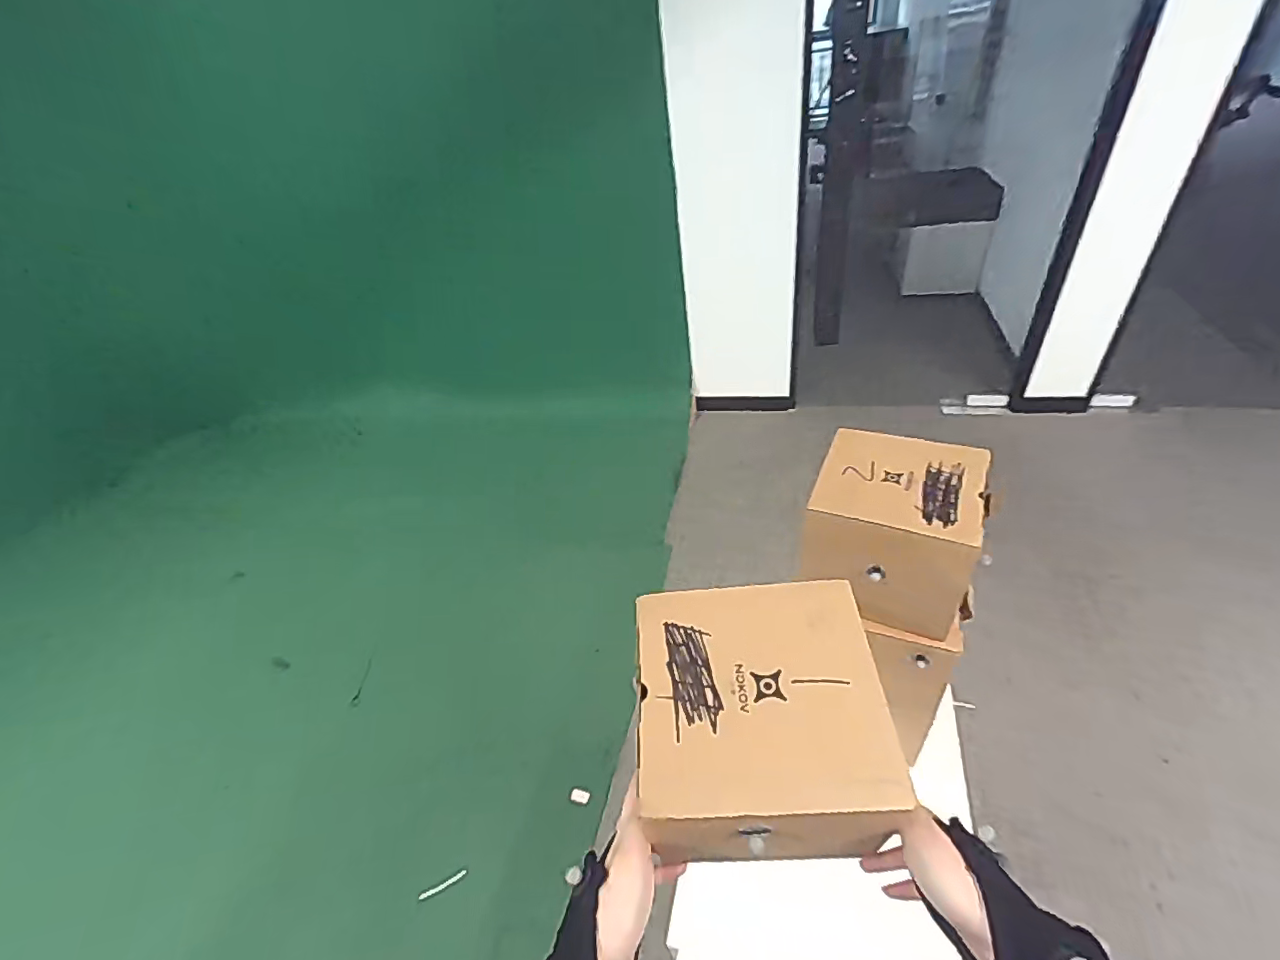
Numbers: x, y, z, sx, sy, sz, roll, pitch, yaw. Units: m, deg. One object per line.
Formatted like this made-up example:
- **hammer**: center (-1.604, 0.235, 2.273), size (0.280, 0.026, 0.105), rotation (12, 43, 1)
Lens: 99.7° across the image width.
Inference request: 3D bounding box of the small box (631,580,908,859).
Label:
- **small box**: center (0.091, 0.203, 0.450), size (0.179, 0.176, 0.168), rotation (-5, 47, 5)

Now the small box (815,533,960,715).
- **small box**: center (0.335, 0.202, 0.765), size (0.179, 0.176, 0.168), rotation (9, 43, 22)

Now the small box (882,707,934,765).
- **small box**: center (0.363, 0.324, 0.869), size (0.179, 0.176, 0.168), rotation (9, 44, 23)
